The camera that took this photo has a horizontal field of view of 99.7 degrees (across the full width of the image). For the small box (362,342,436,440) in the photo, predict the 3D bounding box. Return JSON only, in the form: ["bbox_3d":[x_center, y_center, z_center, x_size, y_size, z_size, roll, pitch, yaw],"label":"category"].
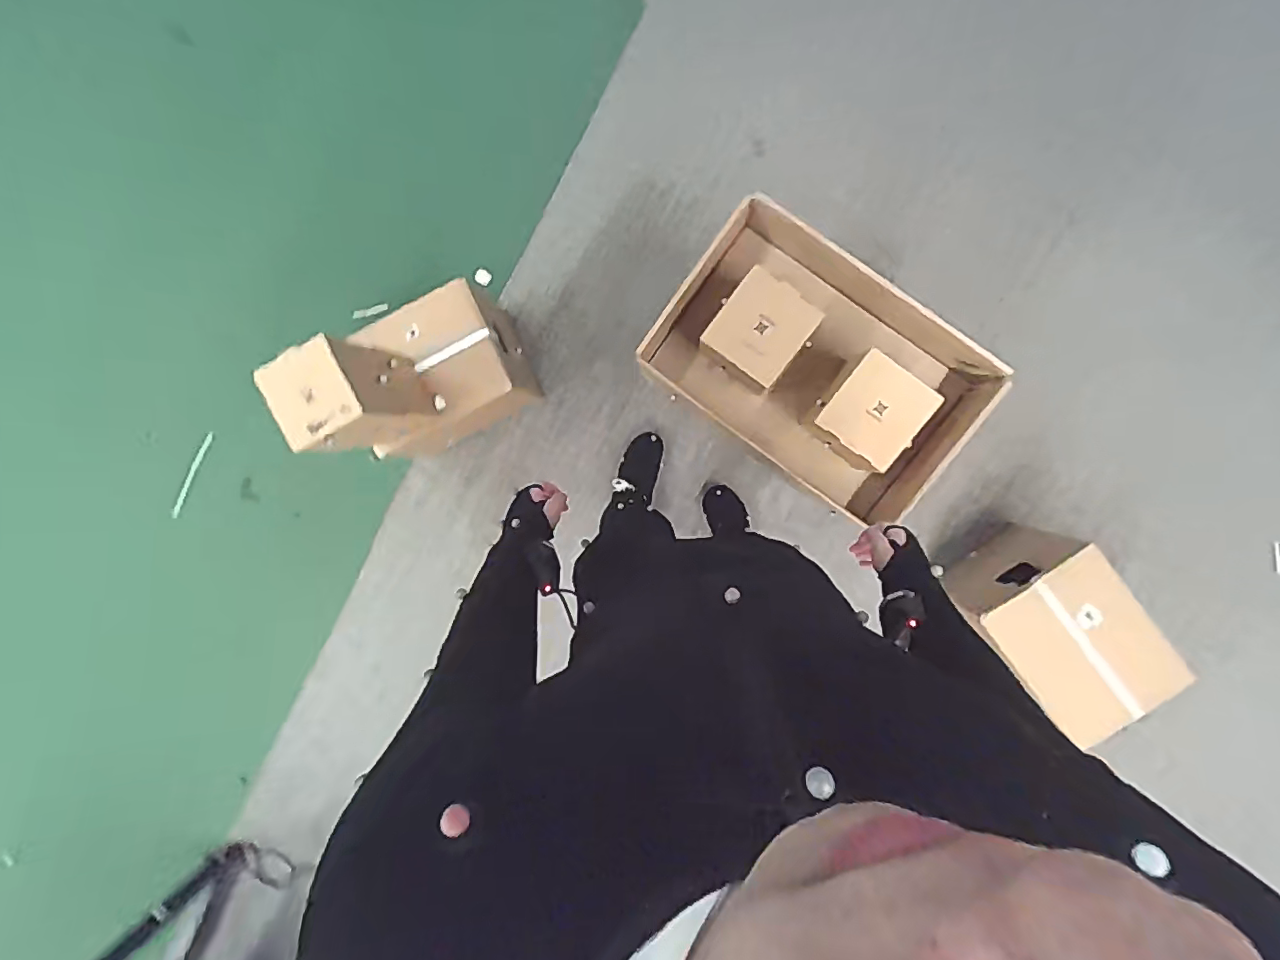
[{"bbox_3d":[-0.621,-0.201,1.279,0.168,0.176,0.179,-26,93,6],"label":"small box"}]

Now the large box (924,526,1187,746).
[{"bbox_3d":[1.051,0.384,1.422,0.320,0.320,0.408,-37,89,6],"label":"large box"}]

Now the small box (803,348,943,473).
[{"bbox_3d":[0.453,-0.136,1.086,0.168,0.176,0.179,37,98,2],"label":"small box"}]

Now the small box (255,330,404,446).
[{"bbox_3d":[-0.630,-0.180,1.117,0.168,0.176,0.179,-26,92,6],"label":"small box"}]
